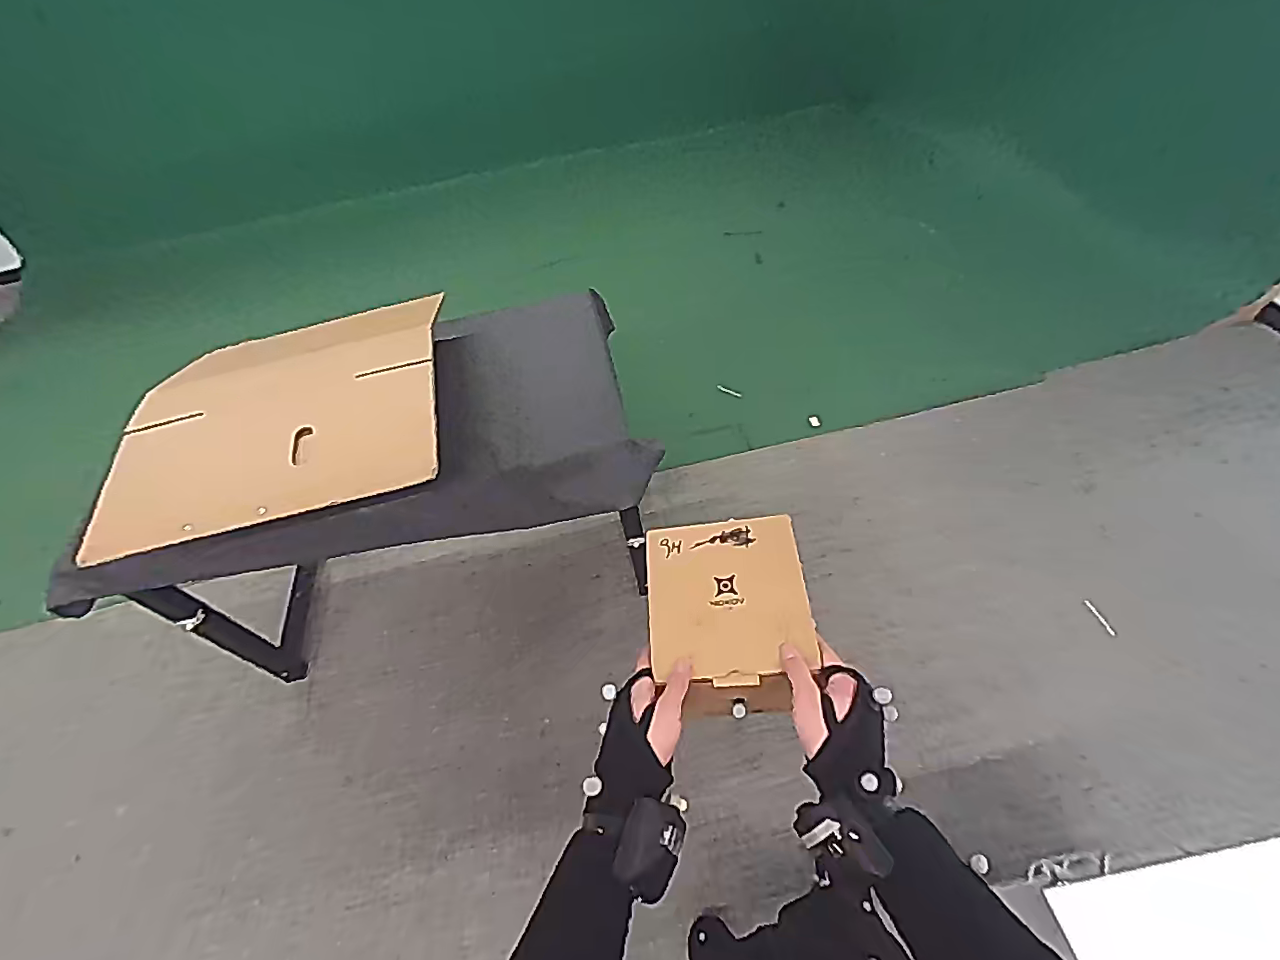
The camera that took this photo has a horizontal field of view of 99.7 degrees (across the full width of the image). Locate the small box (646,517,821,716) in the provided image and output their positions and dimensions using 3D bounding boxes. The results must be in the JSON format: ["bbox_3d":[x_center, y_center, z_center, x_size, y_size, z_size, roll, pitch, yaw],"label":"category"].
[{"bbox_3d":[0.107,0.169,0.638,0.168,0.176,0.179,-10,53,6],"label":"small box"}]
